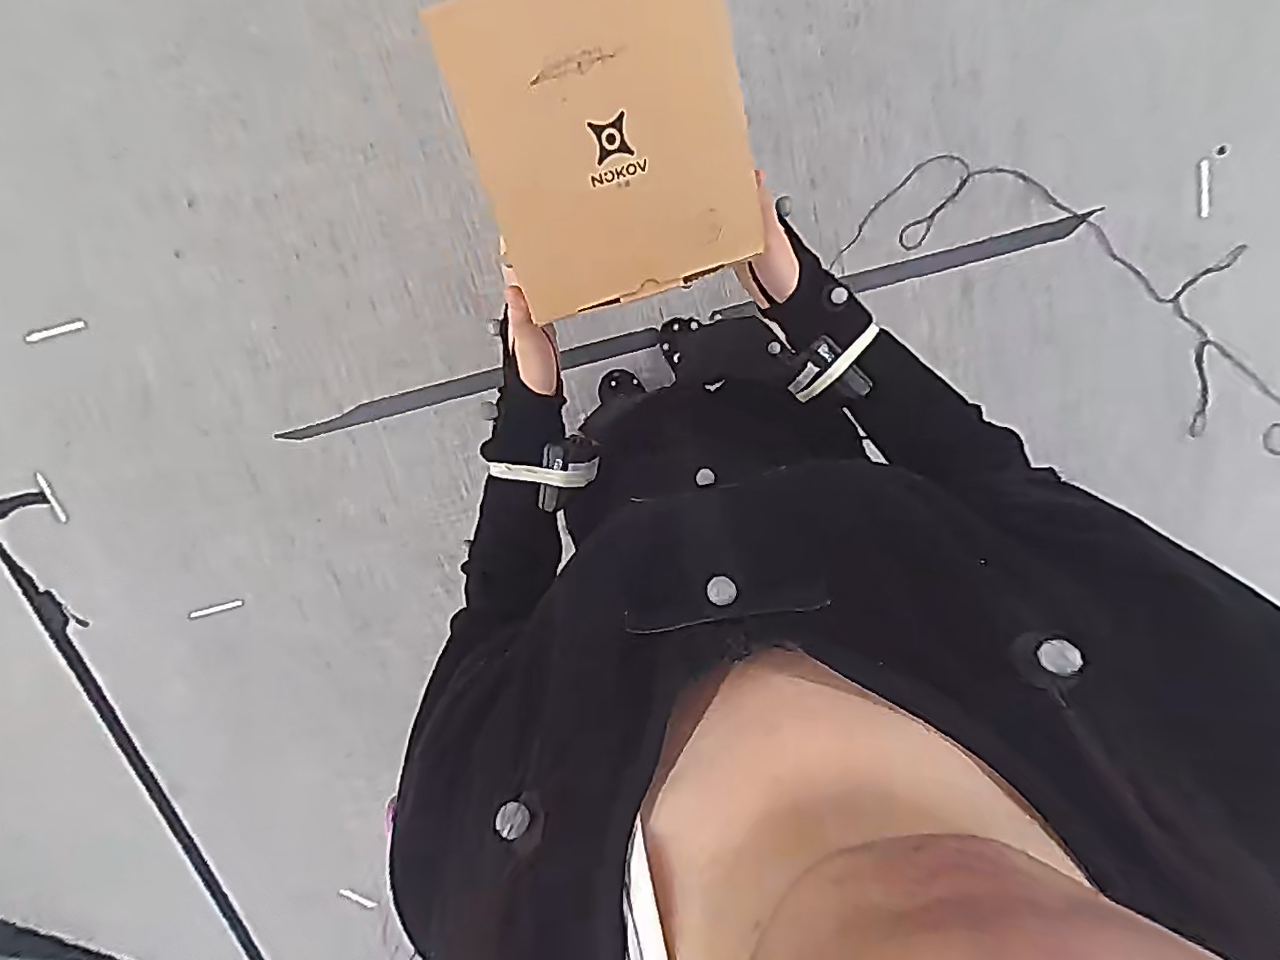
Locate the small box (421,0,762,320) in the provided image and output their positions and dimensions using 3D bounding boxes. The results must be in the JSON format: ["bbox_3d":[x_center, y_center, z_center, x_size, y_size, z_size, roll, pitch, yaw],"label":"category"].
[{"bbox_3d":[-0.026,-0.238,0.397,0.168,0.176,0.179,-18,115,2],"label":"small box"}]
